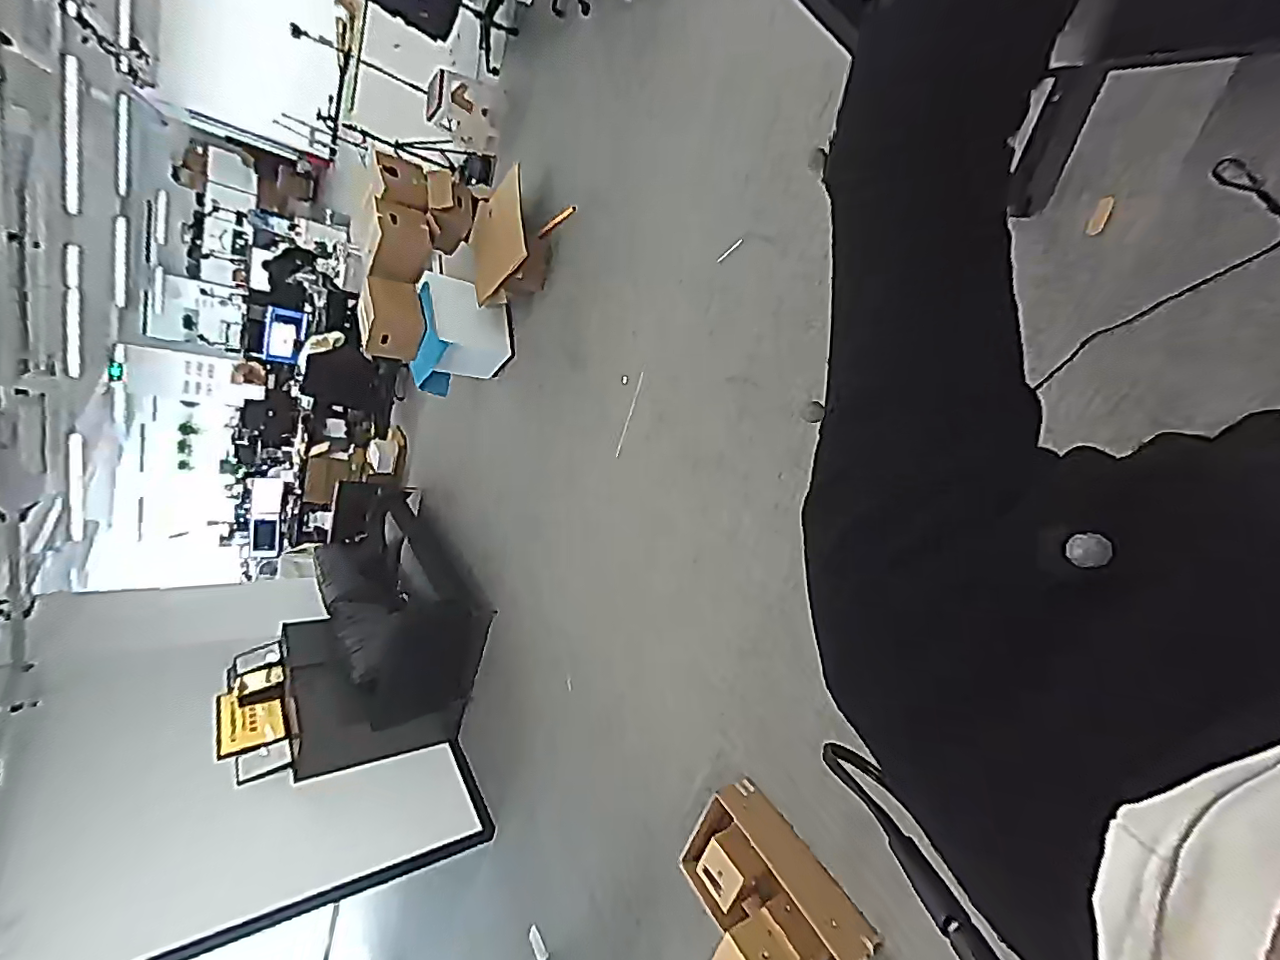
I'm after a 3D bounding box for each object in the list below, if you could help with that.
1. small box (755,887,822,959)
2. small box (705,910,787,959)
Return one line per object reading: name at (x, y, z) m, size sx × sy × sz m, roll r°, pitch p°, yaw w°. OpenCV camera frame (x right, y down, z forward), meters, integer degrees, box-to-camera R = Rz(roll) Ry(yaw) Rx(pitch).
small box at (0.464, 1.489, 1.769) m, size 0.168 × 0.176 × 0.179 m, roll 40°, pitch 117°, yaw 47°
small box at (0.333, 1.492, 1.673) m, size 0.168 × 0.176 × 0.179 m, roll 38°, pitch 116°, yaw 48°
